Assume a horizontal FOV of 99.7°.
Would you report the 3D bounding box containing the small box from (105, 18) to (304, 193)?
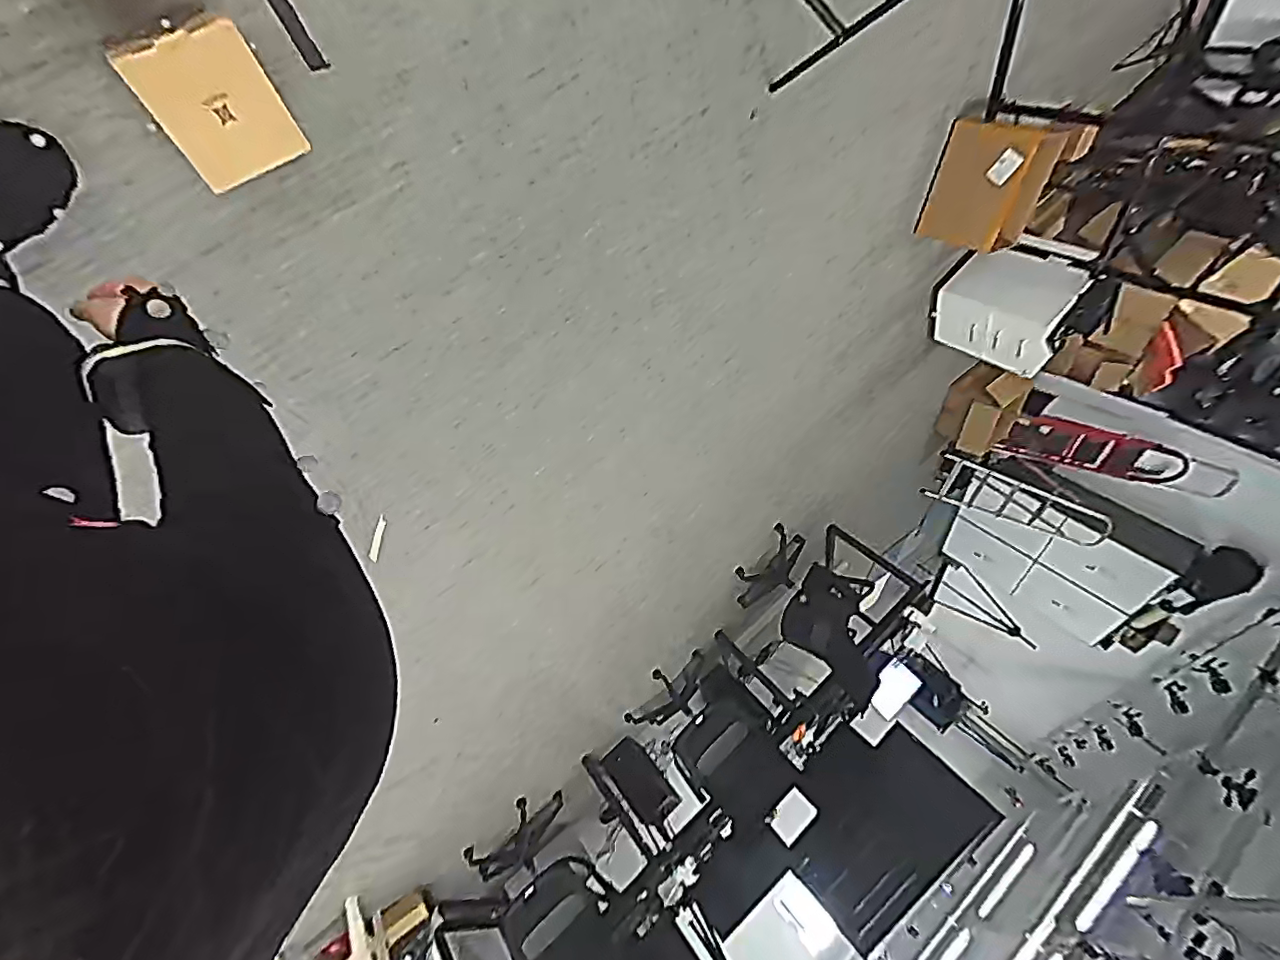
[{"bbox_3d":[-0.674,-0.588,0.845,0.168,0.176,0.179,-38,142,-16],"label":"small box"}]
